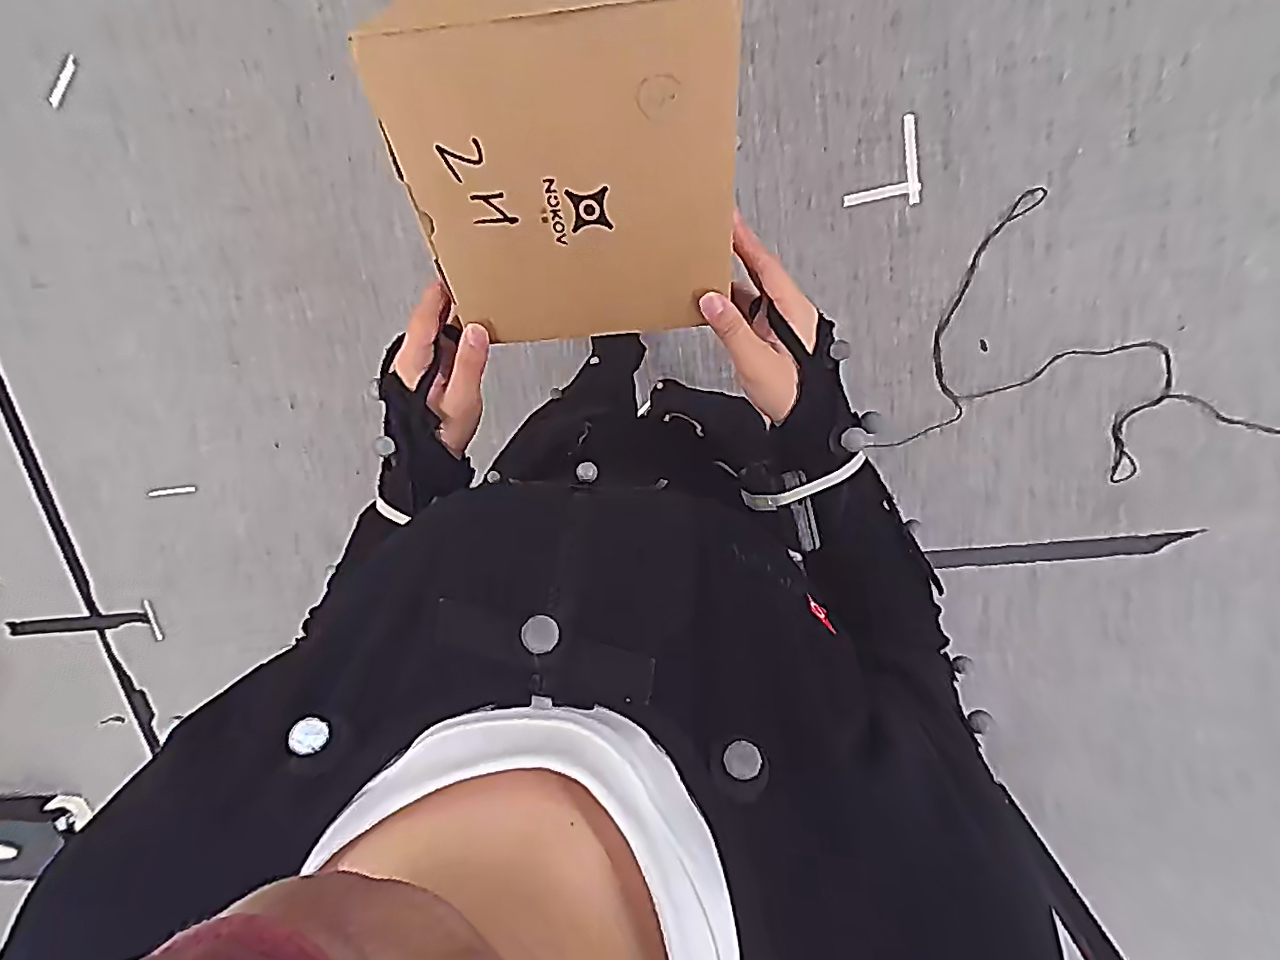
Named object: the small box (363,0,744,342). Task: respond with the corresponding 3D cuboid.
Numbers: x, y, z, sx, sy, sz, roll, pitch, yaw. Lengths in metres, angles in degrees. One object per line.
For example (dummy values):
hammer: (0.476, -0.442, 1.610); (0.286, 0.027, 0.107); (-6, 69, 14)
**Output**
small box: (-0.036, -0.213, 0.350); (0.179, 0.176, 0.168); (-4, 140, 4)
